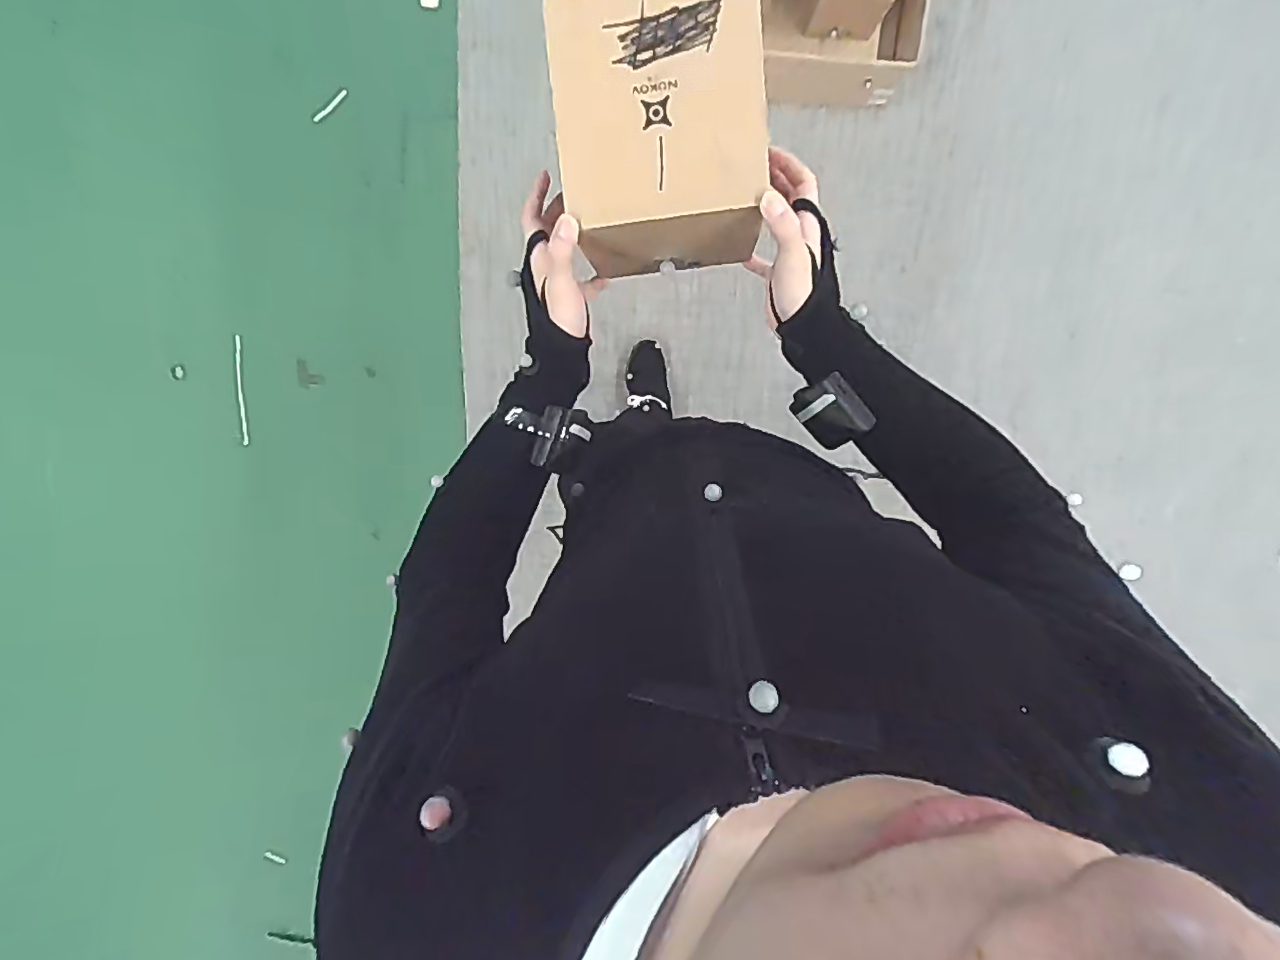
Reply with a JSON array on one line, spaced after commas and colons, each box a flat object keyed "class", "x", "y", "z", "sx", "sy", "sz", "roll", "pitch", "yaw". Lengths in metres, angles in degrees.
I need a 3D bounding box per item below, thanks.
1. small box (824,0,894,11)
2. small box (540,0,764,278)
[{"class": "small box", "x": 0.486, "y": -1.131, "z": 1.118, "sx": 0.168, "sy": 0.176, "sz": 0.179, "roll": 4, "pitch": 100, "yaw": 1}, {"class": "small box", "x": 0.016, "y": -0.302, "z": 0.493, "sx": 0.168, "sy": 0.176, "sz": 0.179, "roll": -4, "pitch": 97, "yaw": 6}]
